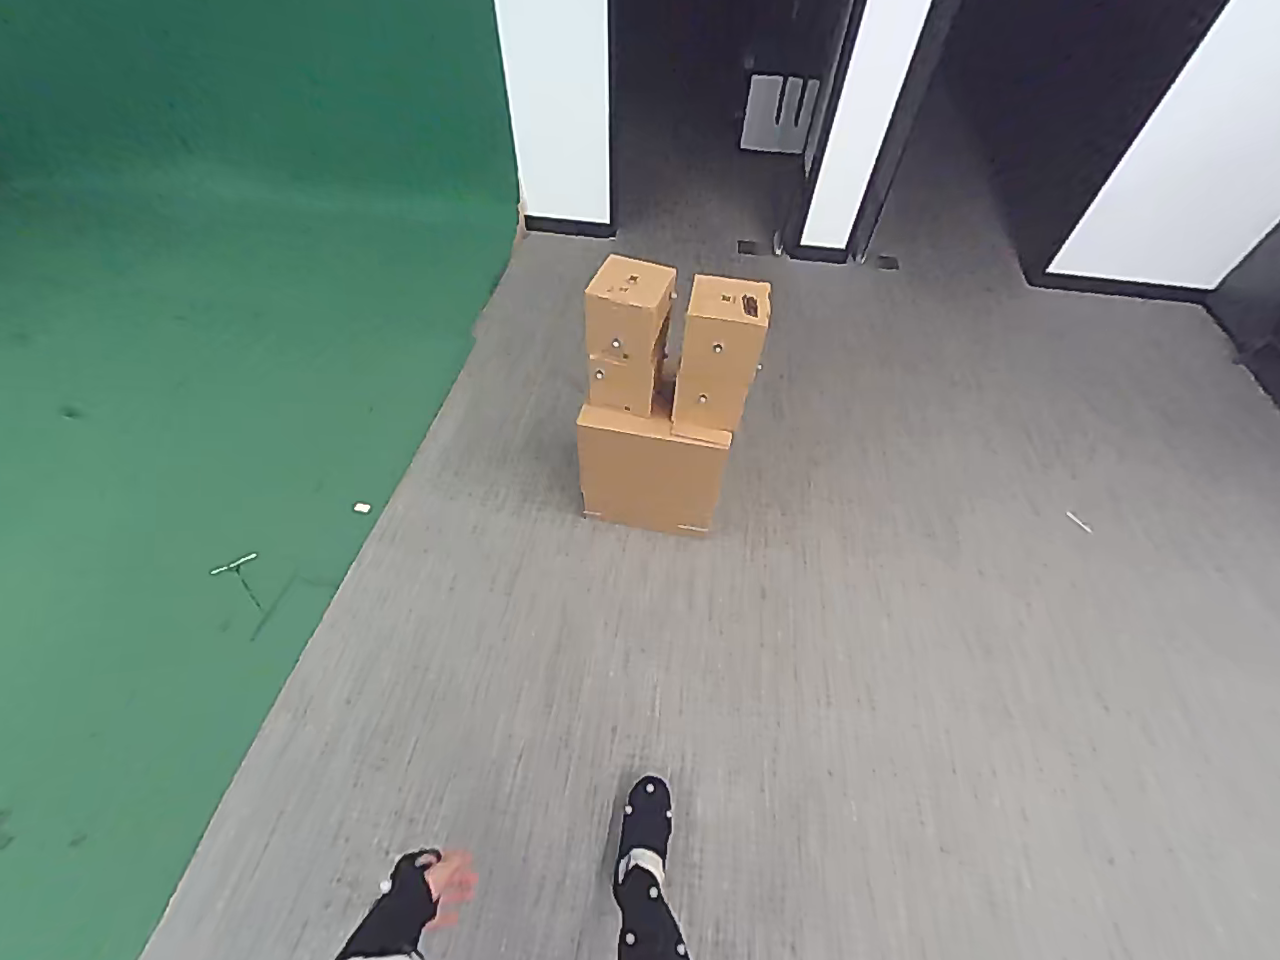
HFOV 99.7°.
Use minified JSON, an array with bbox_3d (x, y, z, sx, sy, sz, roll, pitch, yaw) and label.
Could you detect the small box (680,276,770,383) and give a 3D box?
[{"bbox_3d":[0.195,-0.346,1.259,0.179,0.176,0.168,9,53,6],"label":"small box"}]
